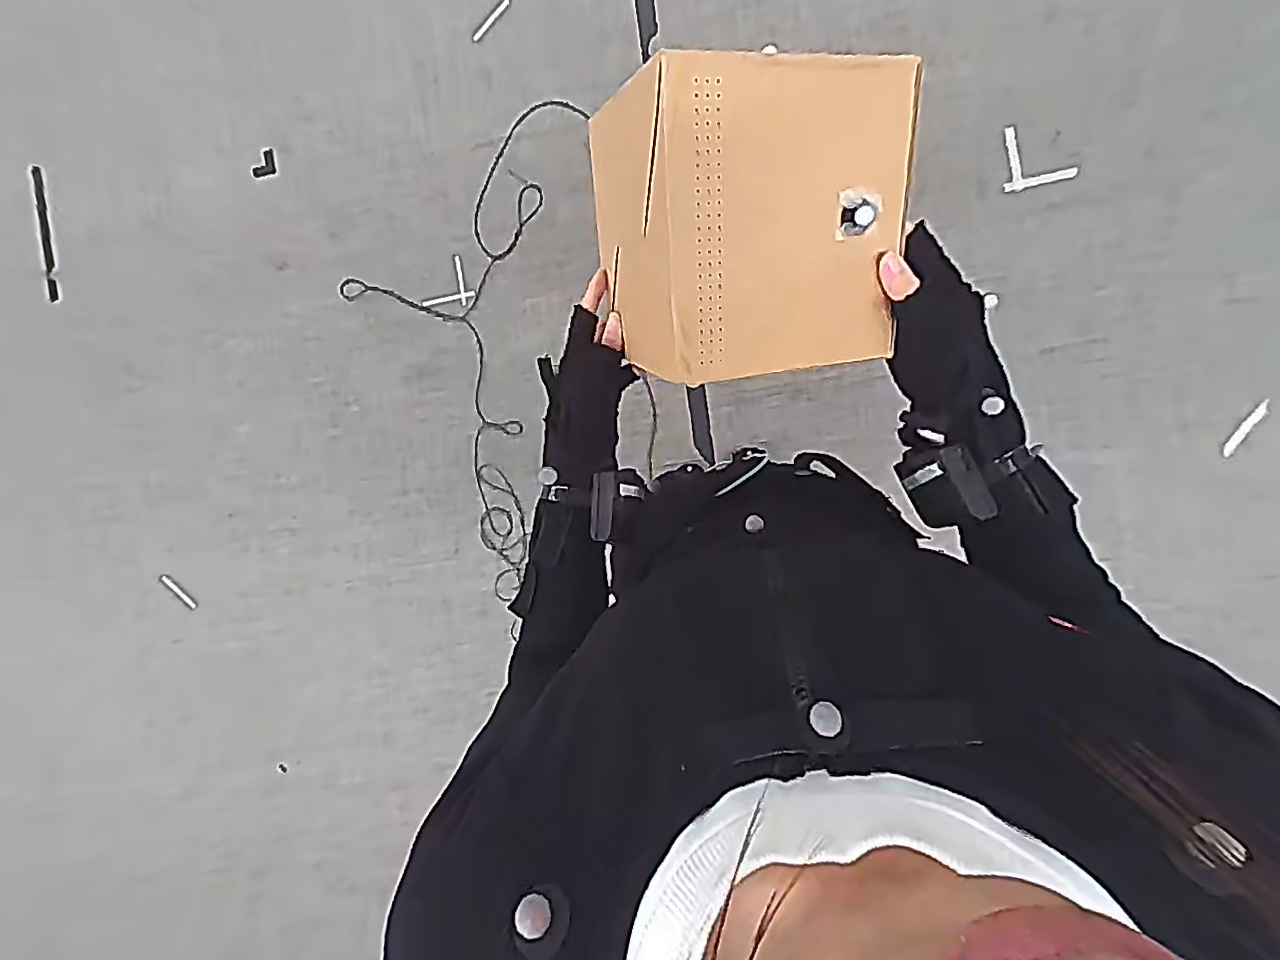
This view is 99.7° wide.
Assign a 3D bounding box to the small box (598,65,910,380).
[{"bbox_3d":[0.069,-0.185,0.410,0.176,0.168,0.179,-10,113,-14],"label":"small box"}]
